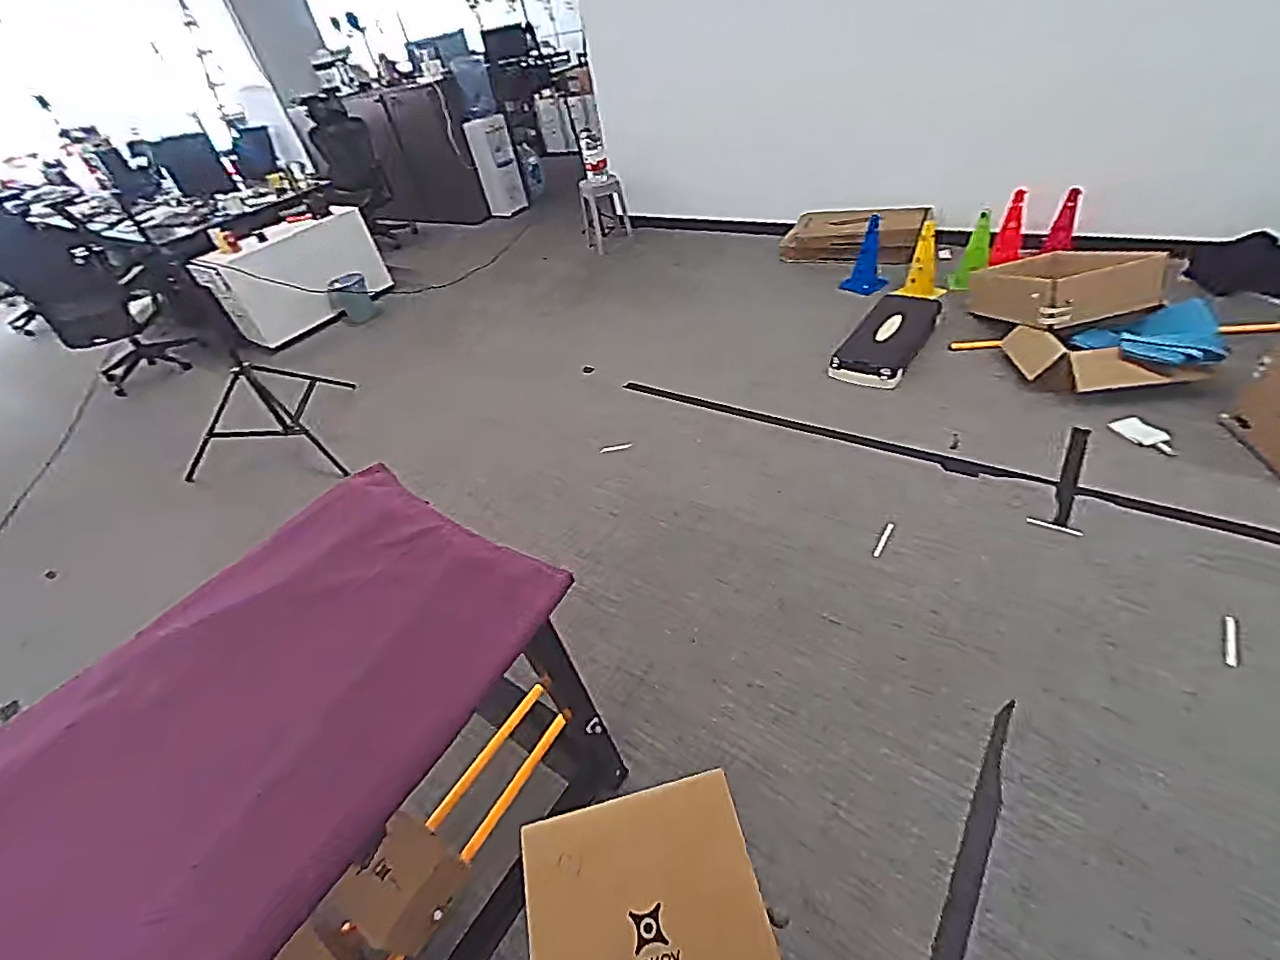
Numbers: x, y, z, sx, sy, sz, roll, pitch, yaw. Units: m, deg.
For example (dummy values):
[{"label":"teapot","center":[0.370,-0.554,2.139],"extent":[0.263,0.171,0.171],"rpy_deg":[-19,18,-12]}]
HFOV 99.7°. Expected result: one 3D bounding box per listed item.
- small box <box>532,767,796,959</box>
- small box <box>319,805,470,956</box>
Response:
[{"label":"small box","center":[0.022,0.356,0.418],"extent":[0.168,0.176,0.179],"rpy_deg":[-14,48,-4]},{"label":"small box","center":[-0.470,0.784,1.055],"extent":[0.179,0.176,0.168],"rpy_deg":[20,52,27]}]
